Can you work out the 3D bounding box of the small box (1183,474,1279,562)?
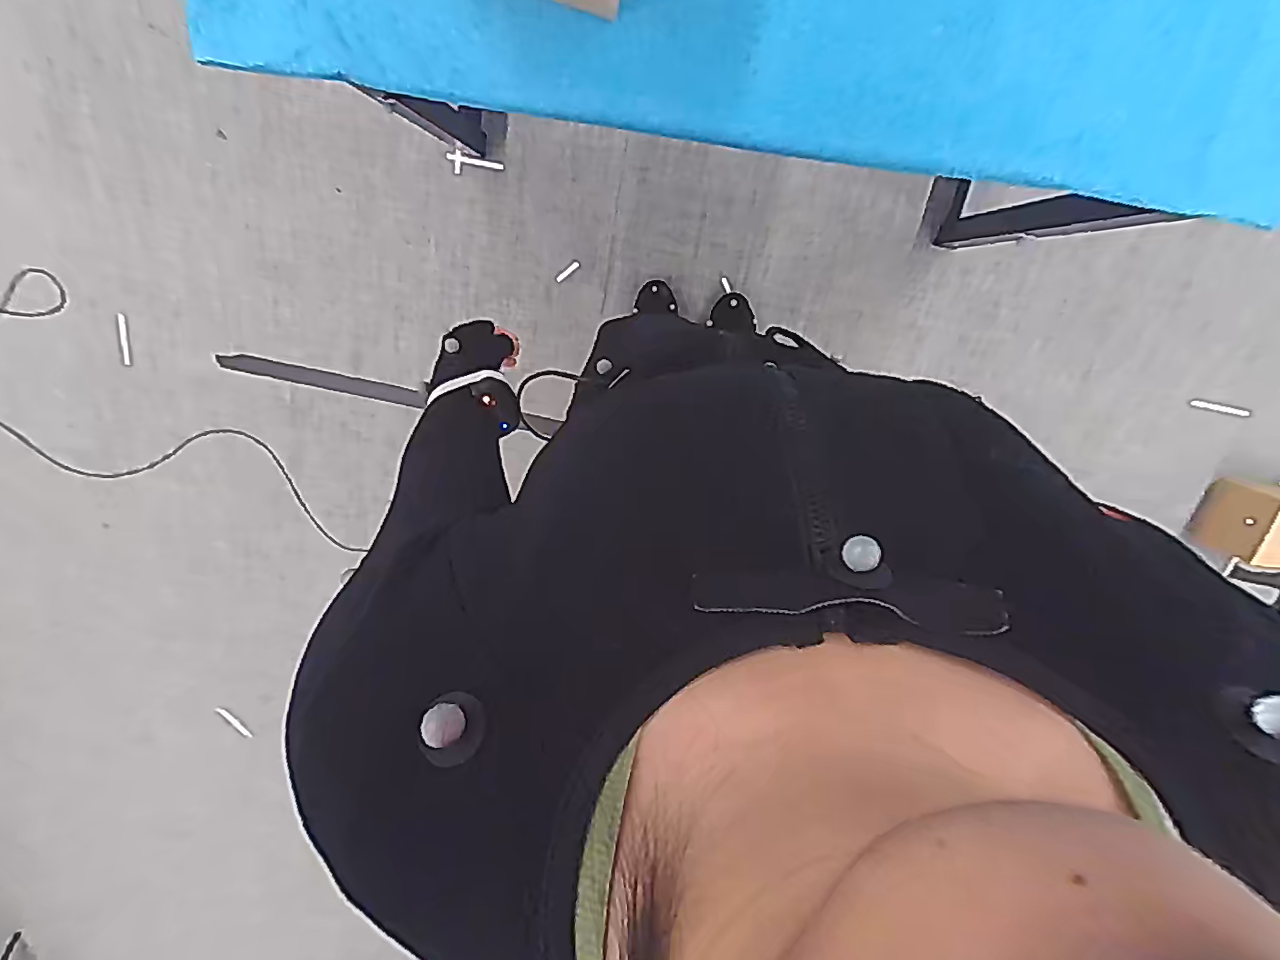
[{"bbox_3d":[1.599,0.095,1.413,0.168,0.176,0.179,7,112,1],"label":"small box"}]
